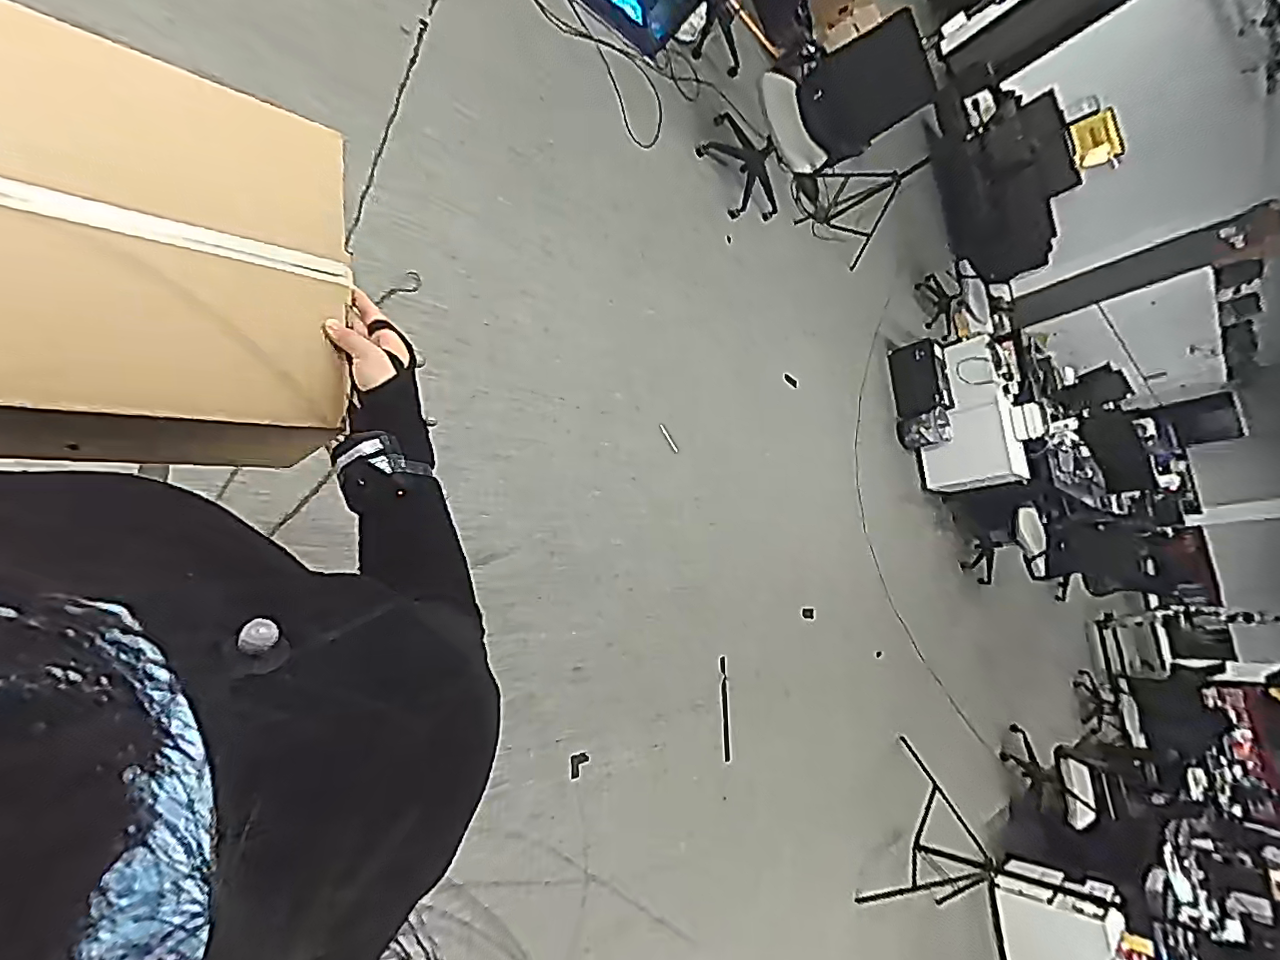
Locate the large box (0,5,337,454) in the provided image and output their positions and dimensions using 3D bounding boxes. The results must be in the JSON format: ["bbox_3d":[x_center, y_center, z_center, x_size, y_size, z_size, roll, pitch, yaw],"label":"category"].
[{"bbox_3d":[-0.559,-0.198,0.531,0.408,0.320,0.320,1,83,-42],"label":"large box"}]
